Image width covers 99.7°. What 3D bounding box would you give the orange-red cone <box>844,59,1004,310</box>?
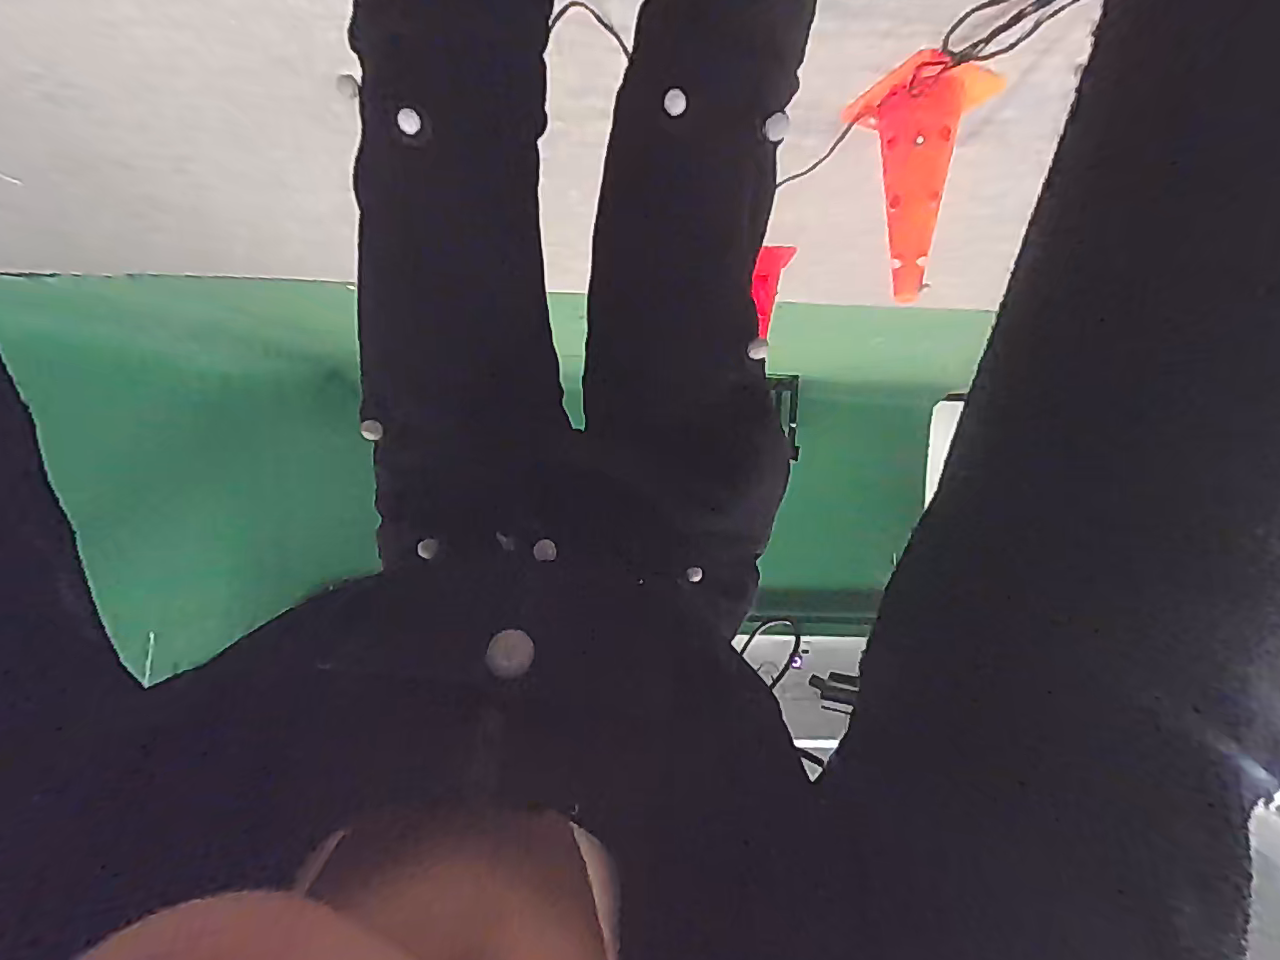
[{"bbox_3d":[0.489,-0.489,0.964,0.199,0.360,0.198,0,-175,-22],"label":"orange-red cone"}]
